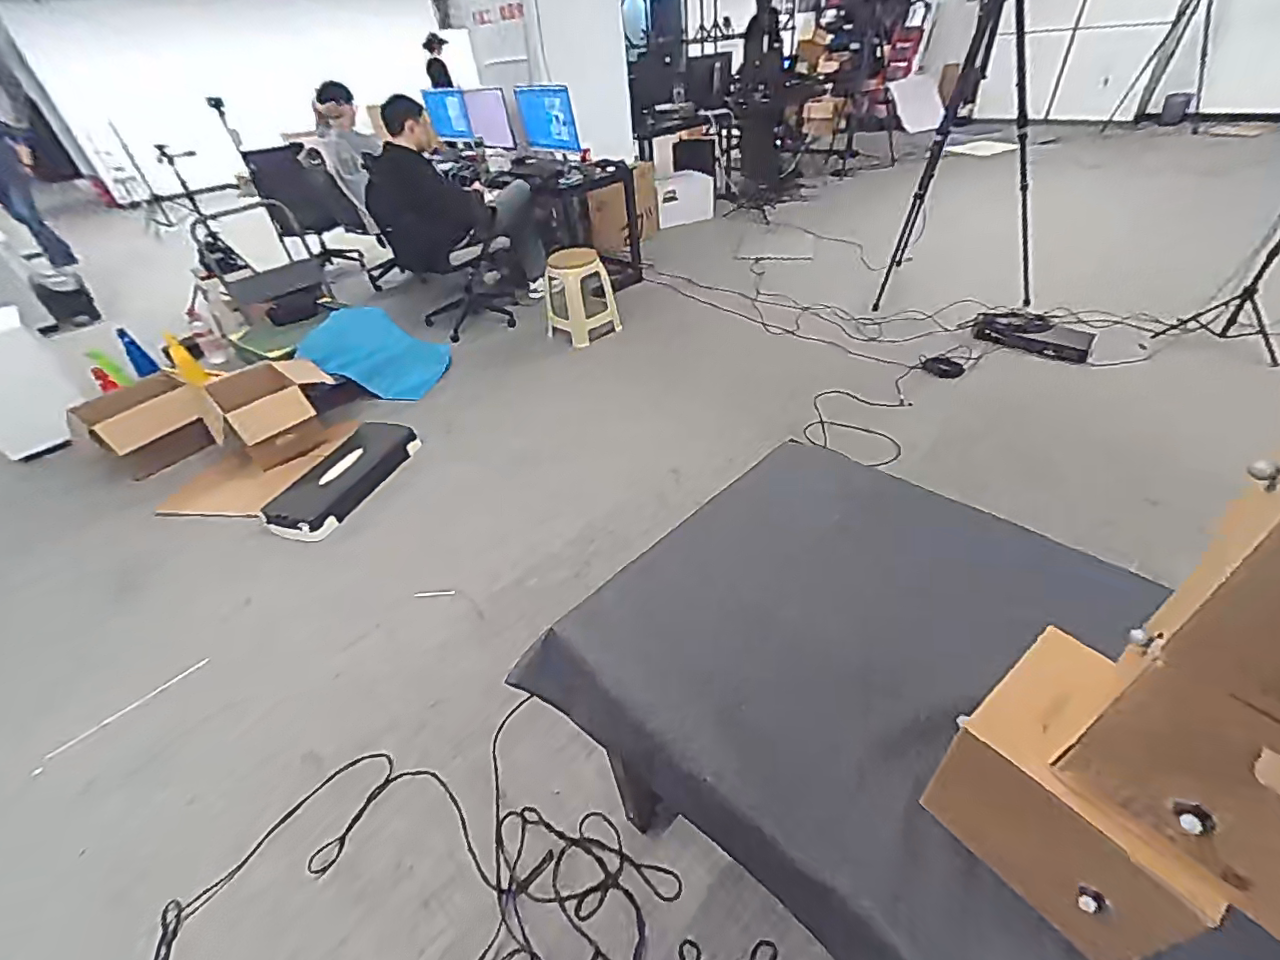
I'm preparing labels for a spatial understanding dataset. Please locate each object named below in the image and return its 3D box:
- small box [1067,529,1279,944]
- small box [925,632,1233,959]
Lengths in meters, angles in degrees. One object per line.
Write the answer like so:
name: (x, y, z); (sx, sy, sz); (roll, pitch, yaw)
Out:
small box: (0.442, 0.172, 0.369); (0.179, 0.176, 0.168); (-29, 45, -26)
small box: (0.400, 0.285, 0.494); (0.168, 0.176, 0.179); (-28, 42, -26)
